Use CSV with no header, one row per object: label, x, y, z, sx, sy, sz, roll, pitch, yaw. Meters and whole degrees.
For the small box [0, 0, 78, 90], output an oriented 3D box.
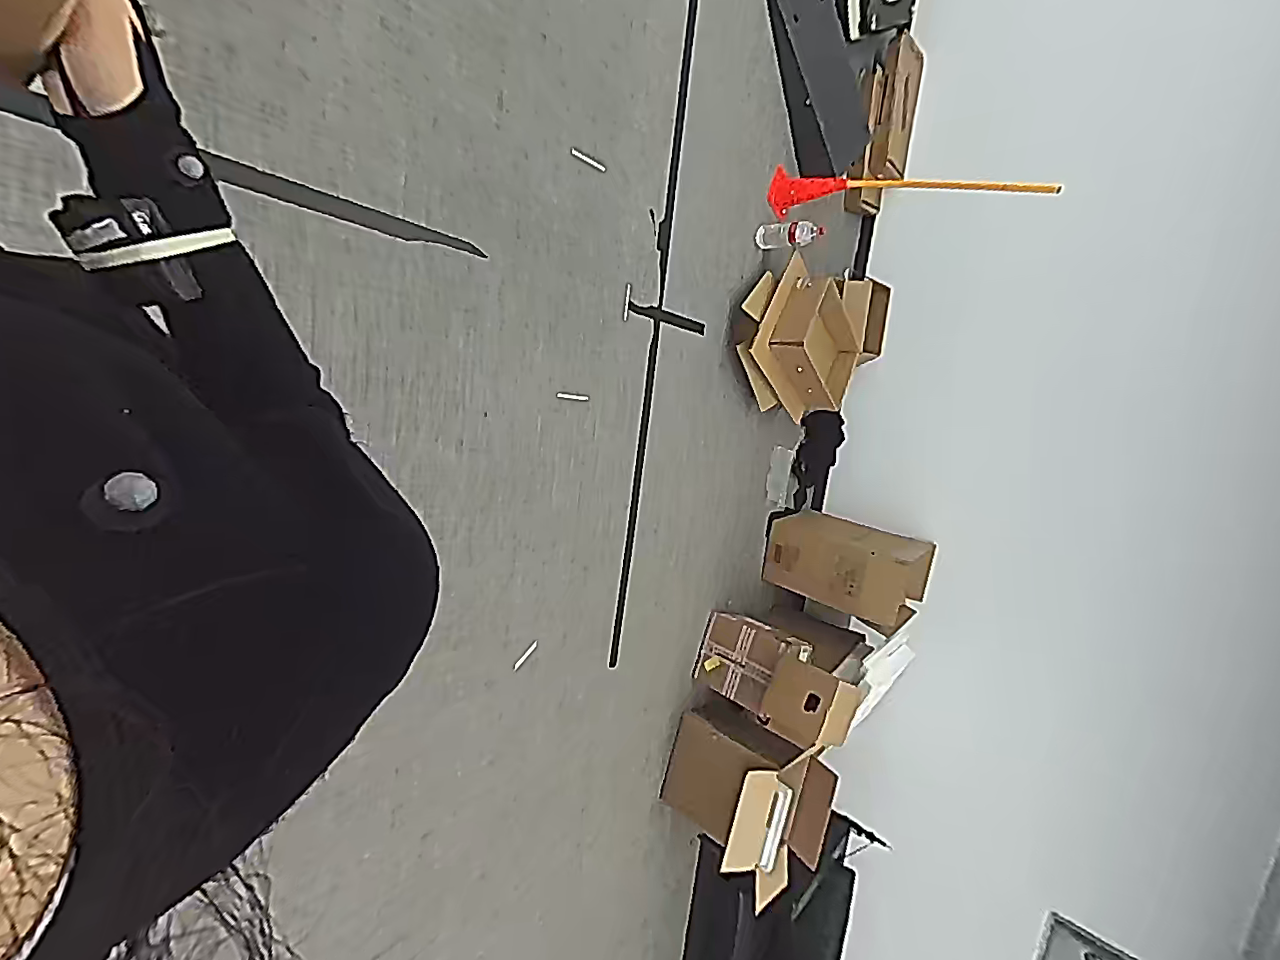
small box,-0.343,-0.290,0.202,0.168,0.176,0.179,-14,108,-52
